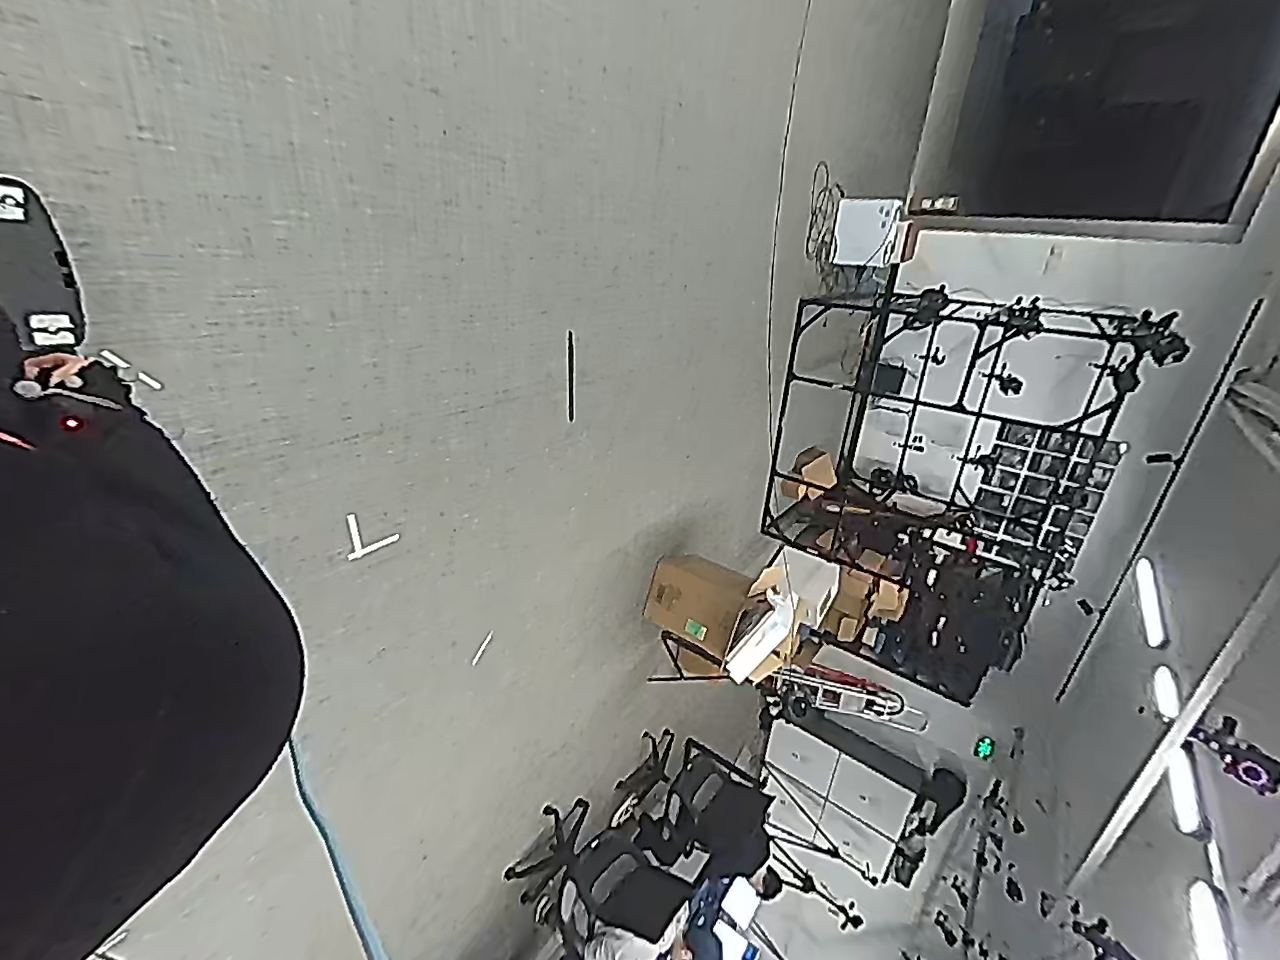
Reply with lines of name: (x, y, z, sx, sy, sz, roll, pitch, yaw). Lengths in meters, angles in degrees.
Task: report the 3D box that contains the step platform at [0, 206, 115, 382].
step platform: (-1.245, -0.285, 0.788, 0.684, 0.204, 0.286, -20, 122, -52)
